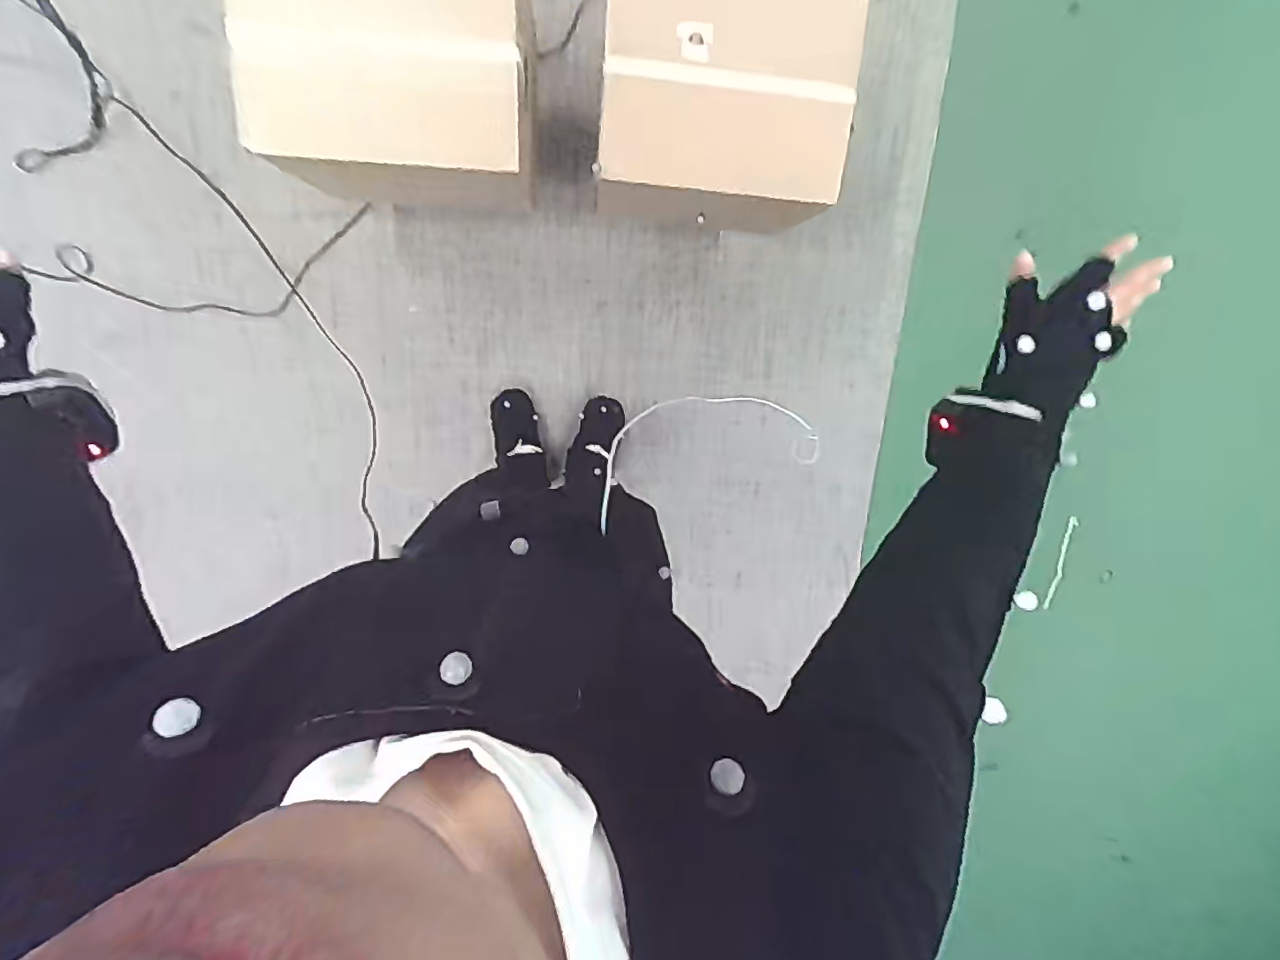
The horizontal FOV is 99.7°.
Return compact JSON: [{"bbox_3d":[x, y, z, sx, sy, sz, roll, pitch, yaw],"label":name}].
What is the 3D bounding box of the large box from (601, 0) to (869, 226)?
[{"bbox_3d":[0.140,-0.674,1.002,0.408,0.320,0.320,4,105,-6],"label":"large box"}]
